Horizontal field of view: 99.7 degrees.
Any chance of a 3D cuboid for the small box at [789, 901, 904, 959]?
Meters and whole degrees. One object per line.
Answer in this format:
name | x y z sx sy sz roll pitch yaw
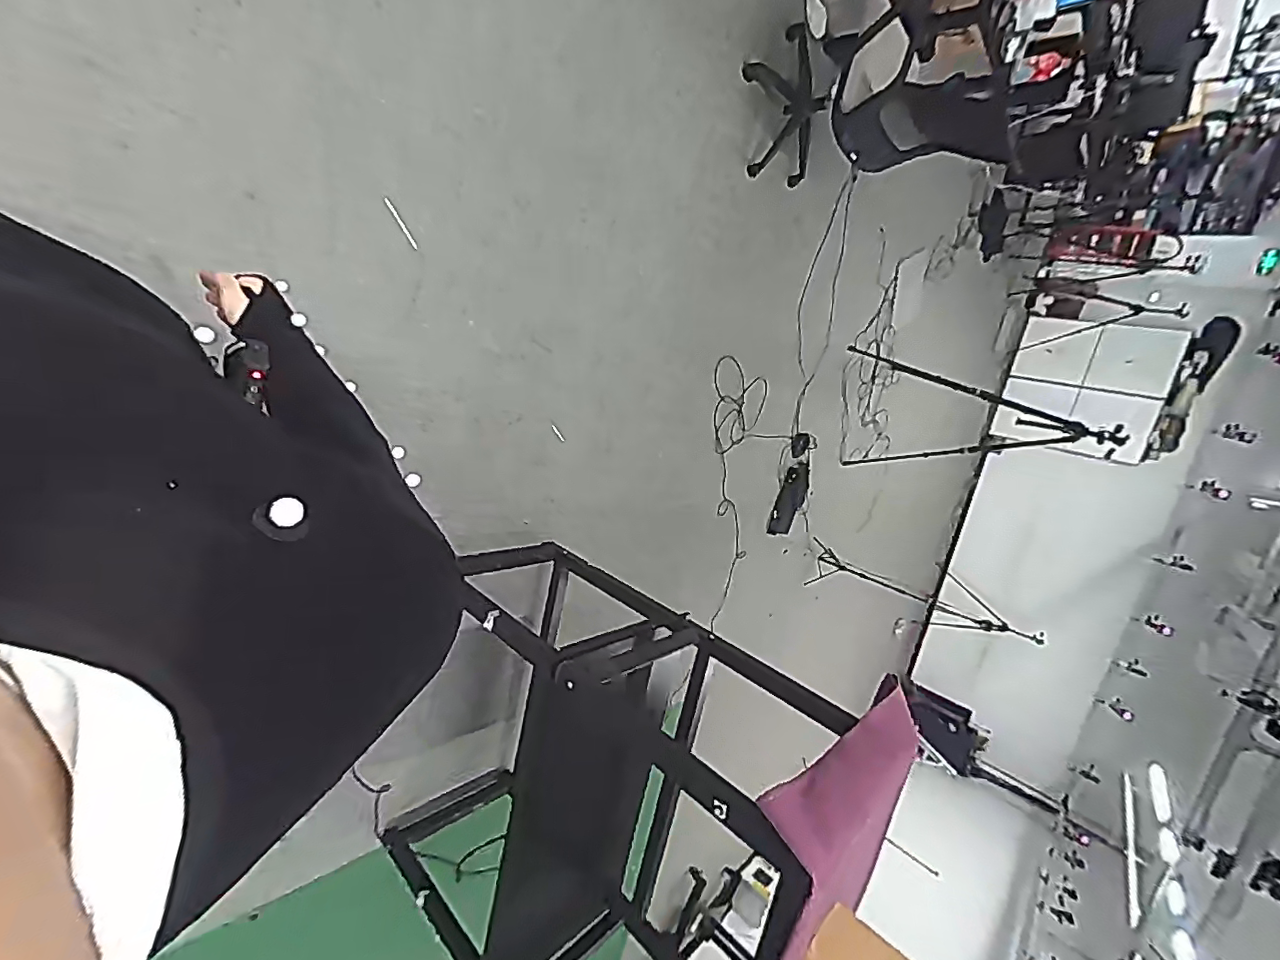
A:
small box | 0.381 0.976 1.041 0.179 0.176 0.168 4 103 -51
